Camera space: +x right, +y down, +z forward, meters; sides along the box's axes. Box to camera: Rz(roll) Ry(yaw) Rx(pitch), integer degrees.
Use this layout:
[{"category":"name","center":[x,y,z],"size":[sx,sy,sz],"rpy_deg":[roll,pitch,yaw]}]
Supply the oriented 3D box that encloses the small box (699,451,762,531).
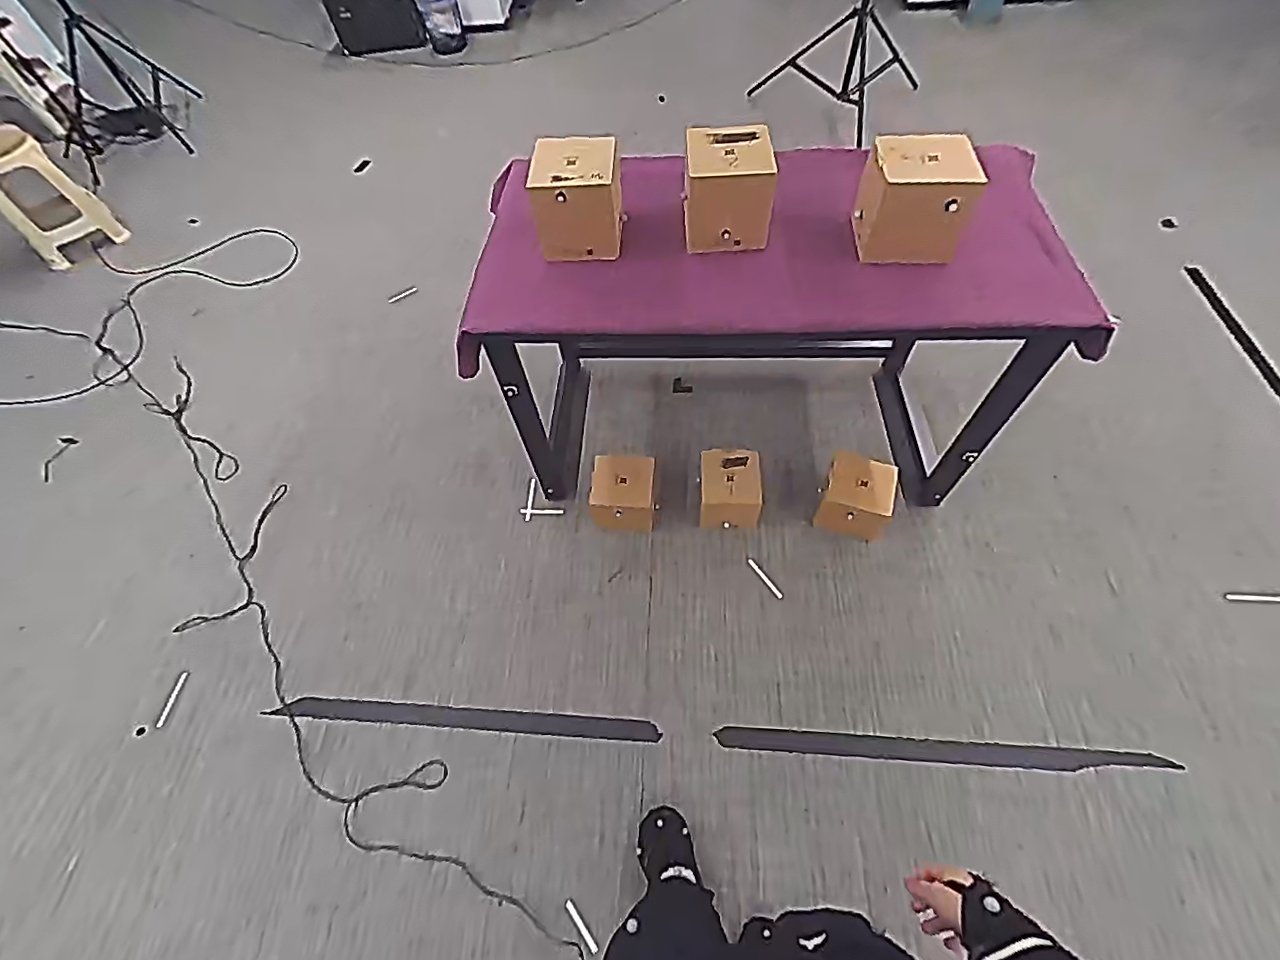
[{"category":"small box","center":[0.260,0.033,1.582],"size":[0.168,0.176,0.179],"rpy_deg":[0,59,4]}]

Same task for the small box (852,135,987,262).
[{"category":"small box","center":[0.536,-0.548,1.063],"size":[0.179,0.176,0.168],"rpy_deg":[2,57,6]}]

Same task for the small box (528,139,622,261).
[{"category":"small box","center":[-0.127,-0.584,1.134],"size":[0.168,0.176,0.179],"rpy_deg":[-1,58,3]}]

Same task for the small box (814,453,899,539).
[{"category":"small box","center":[0.614,0.052,1.547],"size":[0.179,0.176,0.168],"rpy_deg":[15,61,15]}]
